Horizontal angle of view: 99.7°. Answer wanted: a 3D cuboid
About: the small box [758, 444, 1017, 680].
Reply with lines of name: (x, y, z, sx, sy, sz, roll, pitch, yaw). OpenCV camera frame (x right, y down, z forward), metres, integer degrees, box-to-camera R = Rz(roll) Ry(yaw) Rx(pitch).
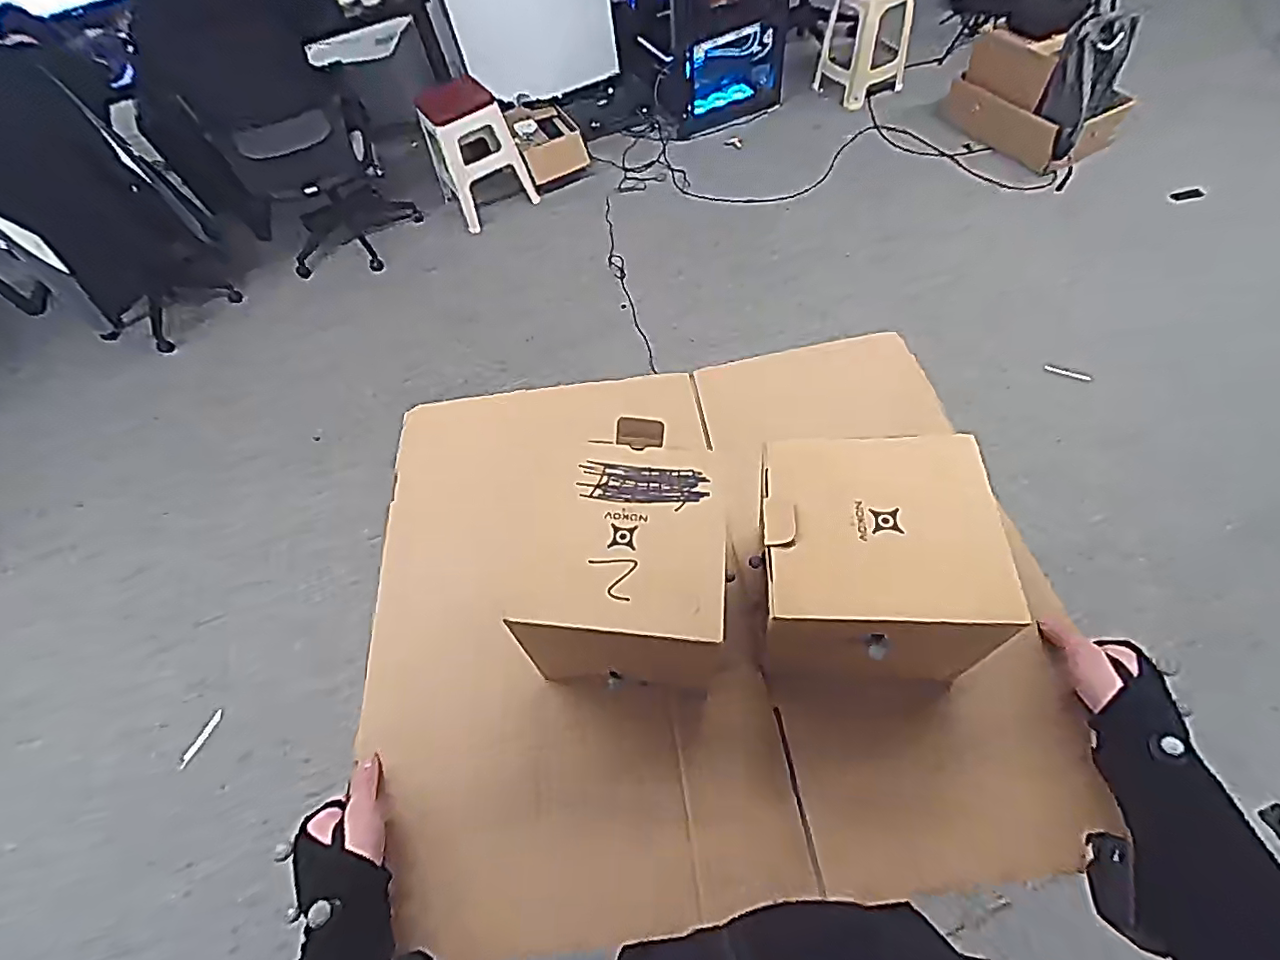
small box: (0.203, 0.083, 0.505, 0.179, 0.176, 0.168, -2, 57, 11)
